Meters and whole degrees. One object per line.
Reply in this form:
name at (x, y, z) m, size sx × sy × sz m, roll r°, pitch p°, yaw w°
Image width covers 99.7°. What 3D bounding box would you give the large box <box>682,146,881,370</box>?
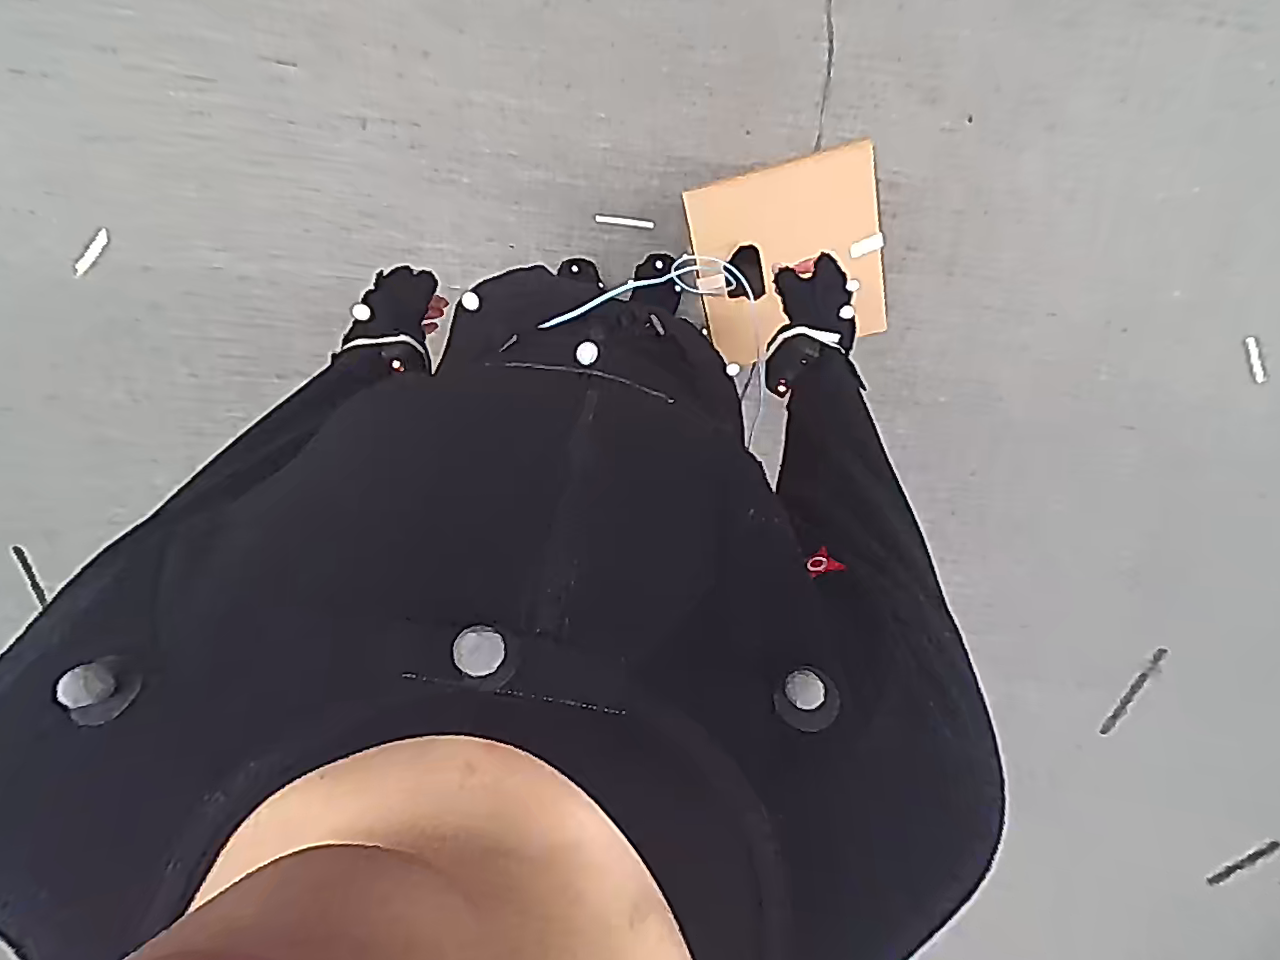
large box at (0.274, -0.451, 1.125) m, size 0.320 × 0.408 × 0.320 m, roll -10°, pitch 113°, yaw 10°
